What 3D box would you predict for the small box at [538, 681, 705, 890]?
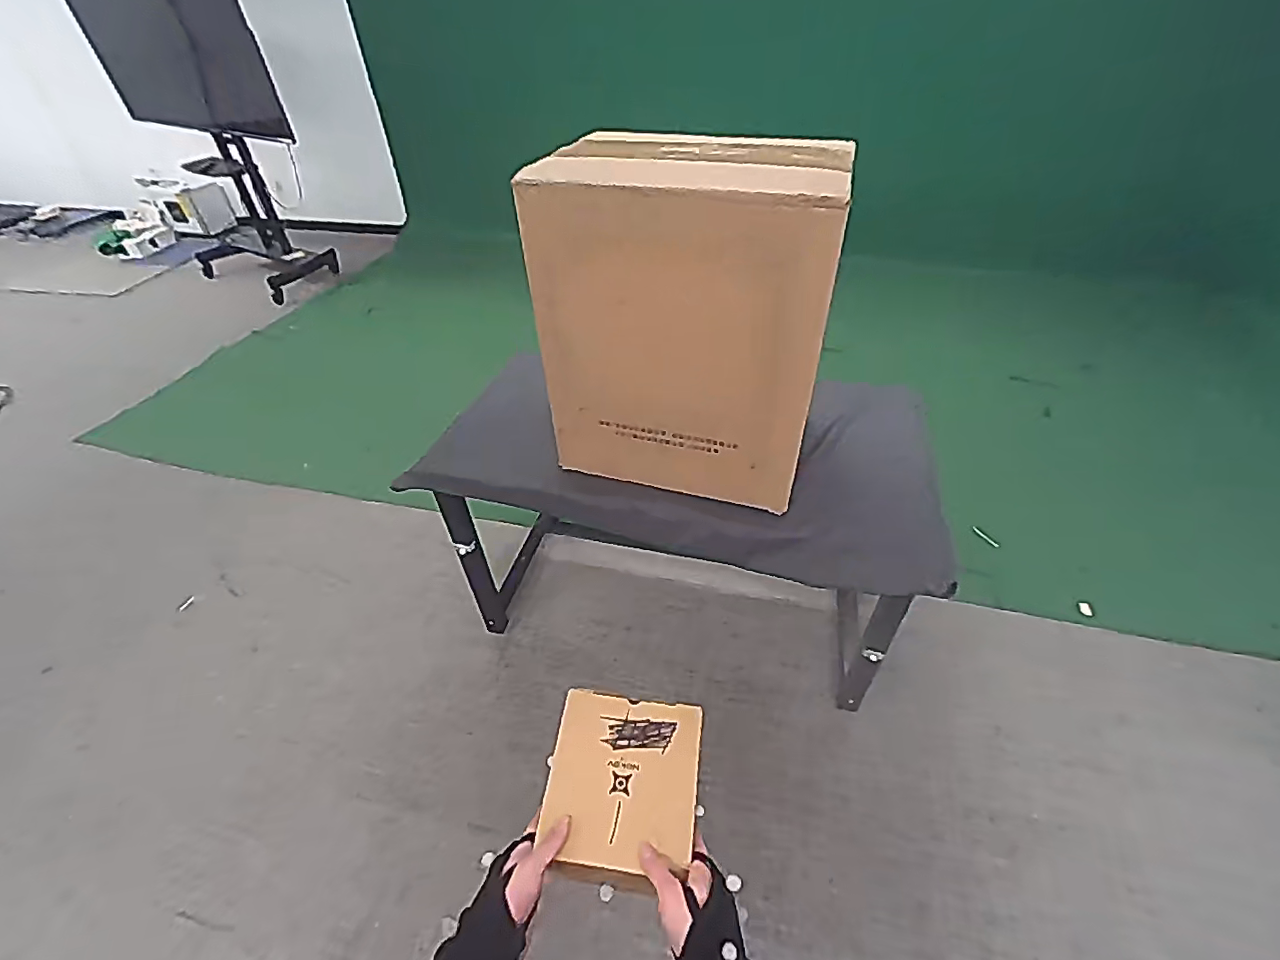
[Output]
[{"bbox_3d":[-0.015,0.375,0.664,0.168,0.176,0.179,6,48,6],"label":"small box"}]
